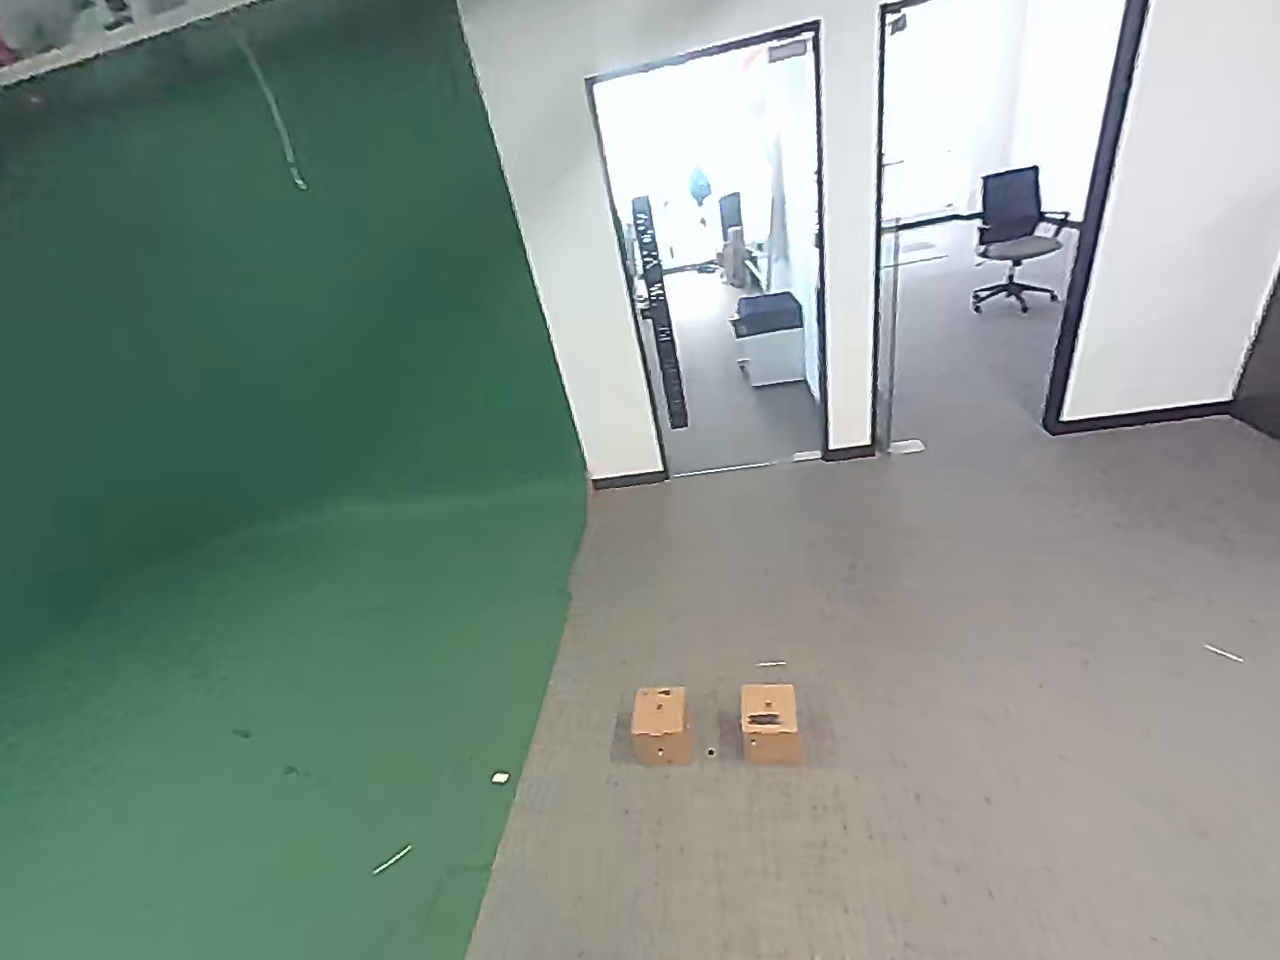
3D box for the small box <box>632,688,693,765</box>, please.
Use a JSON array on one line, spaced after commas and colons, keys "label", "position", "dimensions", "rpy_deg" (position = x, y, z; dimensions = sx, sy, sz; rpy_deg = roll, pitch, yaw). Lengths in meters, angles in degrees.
[{"label": "small box", "position": [0.080, 0.819, 1.795], "dimensions": [0.168, 0.176, 0.179], "rpy_deg": [-6, 30, 12]}]
